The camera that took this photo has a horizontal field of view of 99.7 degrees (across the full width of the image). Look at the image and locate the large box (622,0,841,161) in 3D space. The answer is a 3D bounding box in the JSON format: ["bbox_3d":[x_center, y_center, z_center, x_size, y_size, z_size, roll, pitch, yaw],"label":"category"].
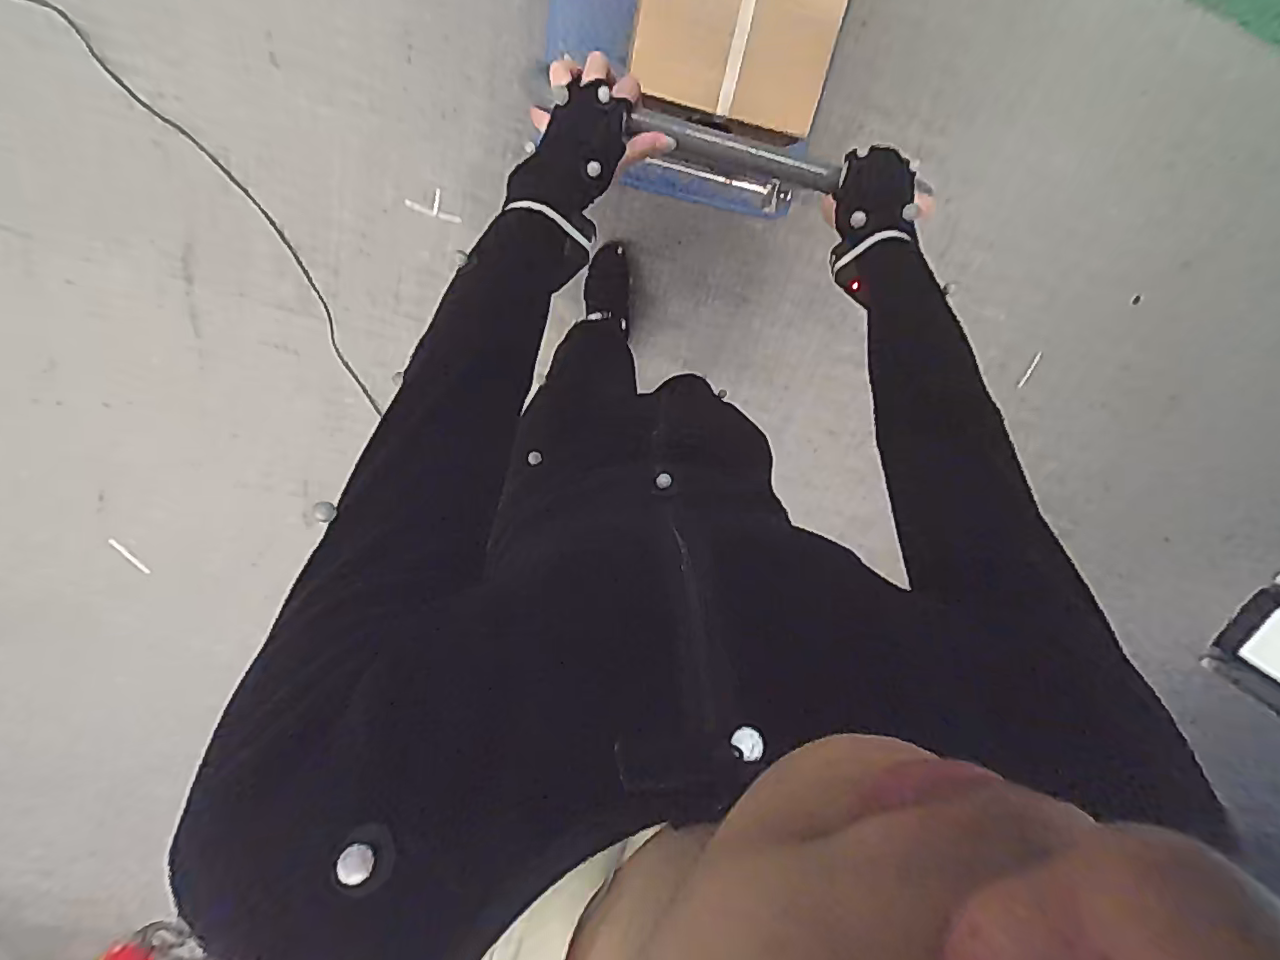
[{"bbox_3d":[0.156,-0.842,0.956,0.320,0.320,0.408,9,112,-10],"label":"large box"}]
